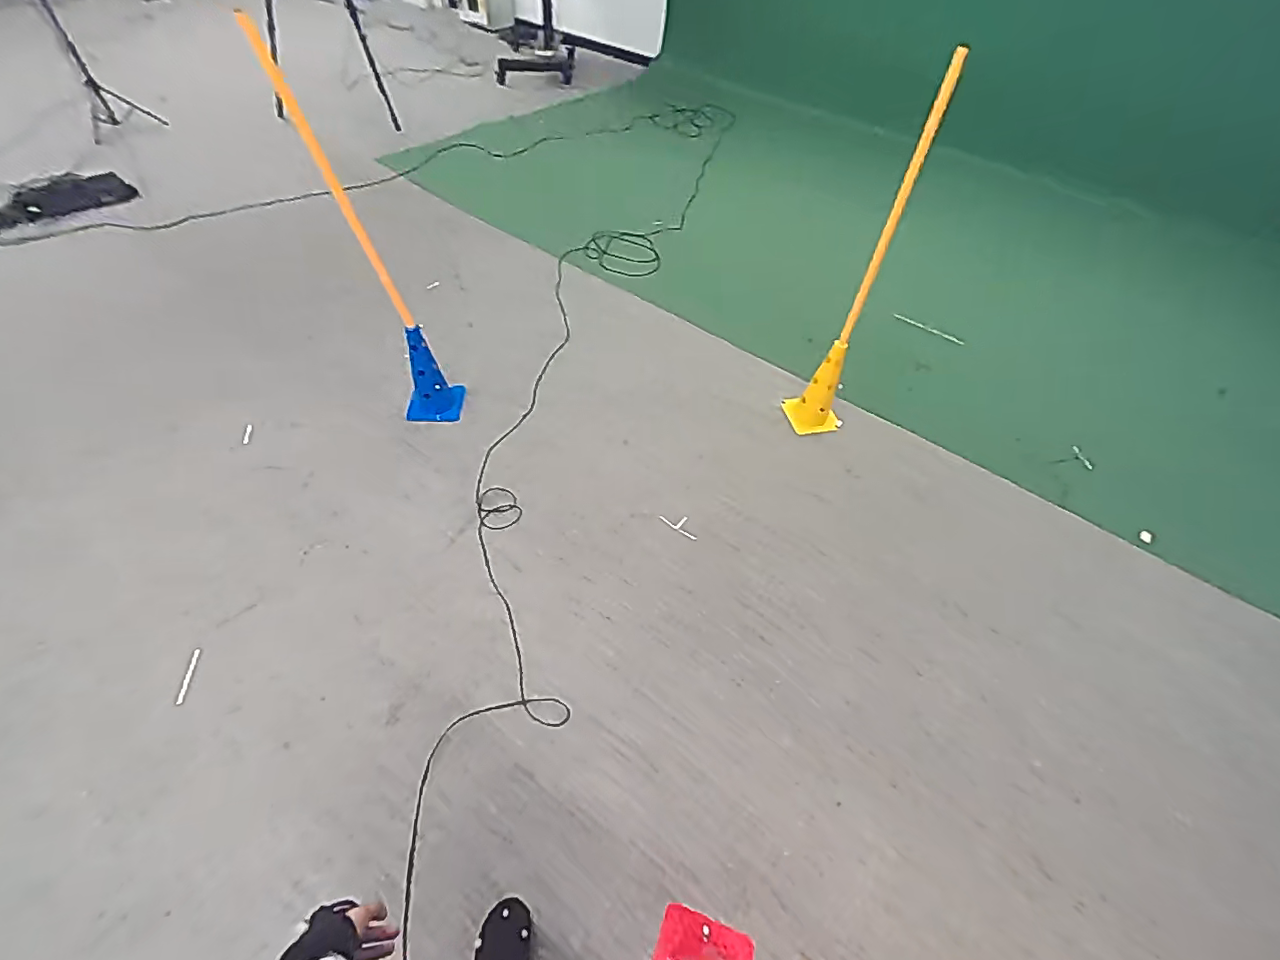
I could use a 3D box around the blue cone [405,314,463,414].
[{"bbox_3d":[-0.772,-0.422,1.940,0.193,0.380,0.192,-1,52,-4],"label":"blue cone"}]
